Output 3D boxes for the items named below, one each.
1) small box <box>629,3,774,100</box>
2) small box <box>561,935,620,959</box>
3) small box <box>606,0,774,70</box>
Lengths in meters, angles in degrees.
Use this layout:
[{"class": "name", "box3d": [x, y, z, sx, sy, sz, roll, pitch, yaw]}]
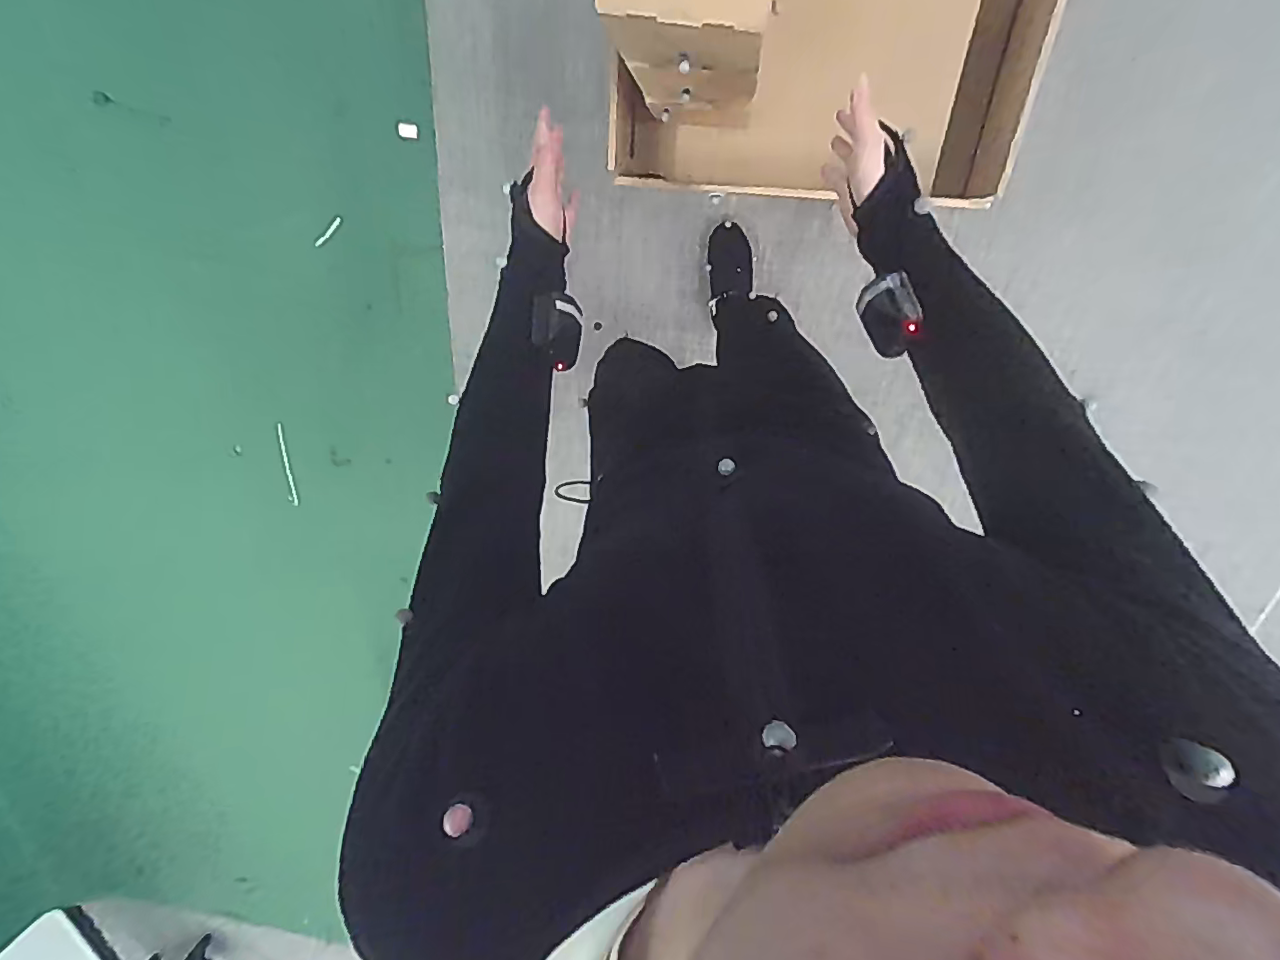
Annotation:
[{"class": "small box", "box3d": [0.086, -0.614, 0.688, 0.168, 0.176, 0.179, 9, 116, 5]}, {"class": "small box", "box3d": [-0.149, 1.451, 1.541, 0.168, 0.176, 0.179, 4, 115, 5]}, {"class": "small box", "box3d": [0.063, -0.546, 0.539, 0.168, 0.176, 0.179, 11, 116, 4]}]
